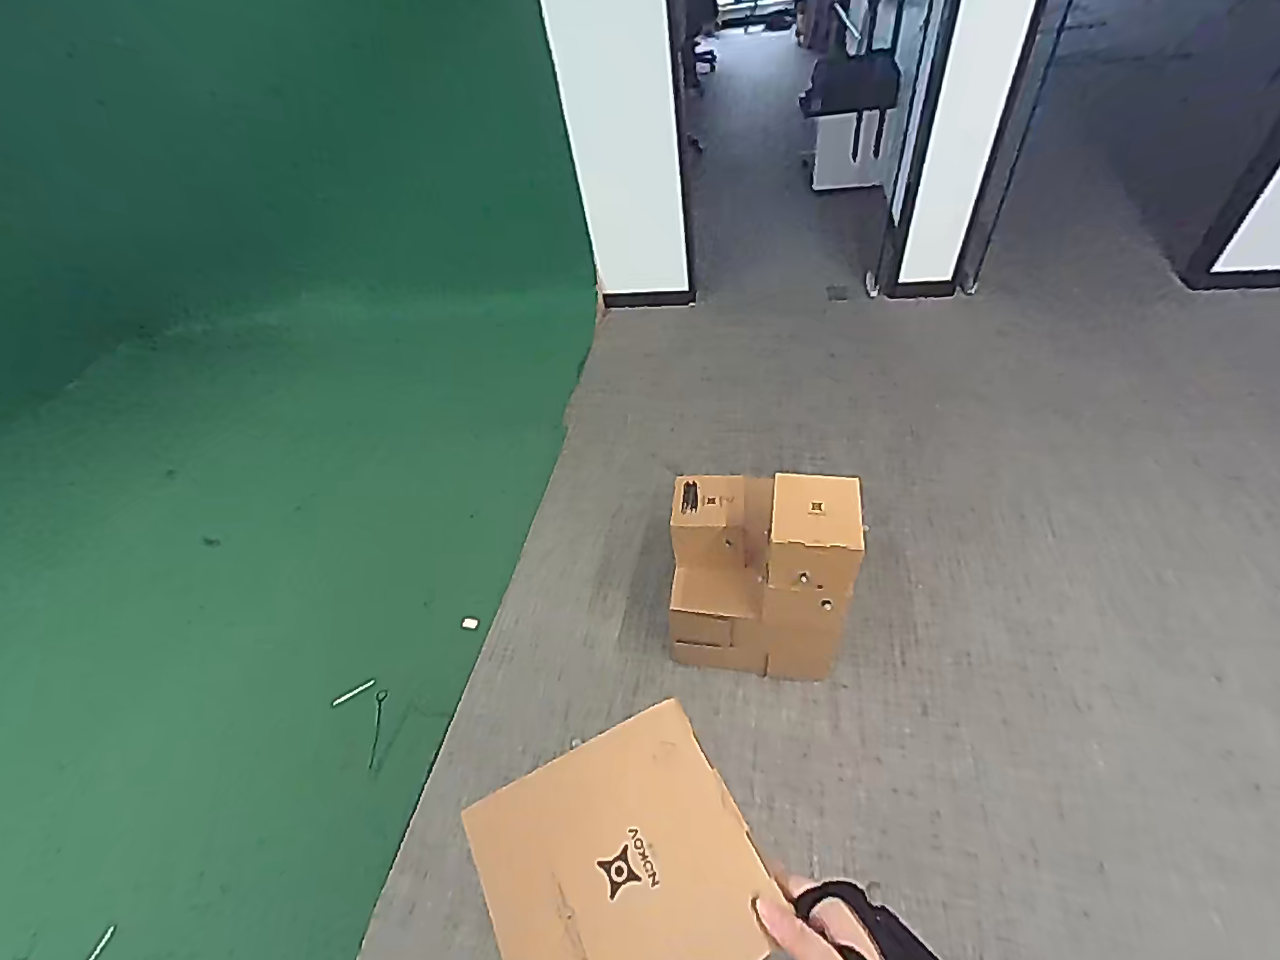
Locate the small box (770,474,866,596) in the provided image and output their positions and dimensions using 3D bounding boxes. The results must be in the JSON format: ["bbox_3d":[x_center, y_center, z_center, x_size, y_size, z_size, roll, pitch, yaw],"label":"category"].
[{"bbox_3d":[0.355,0.112,1.101,0.168,0.176,0.179,4,50,13],"label":"small box"}]

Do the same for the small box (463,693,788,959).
[{"bbox_3d":[-0.018,0.303,0.430,0.179,0.176,0.168,-21,56,-17],"label":"small box"}]

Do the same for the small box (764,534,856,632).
[{"bbox_3d":[0.377,0.224,1.217,0.179,0.176,0.168,4,48,13],"label":"small box"}]
